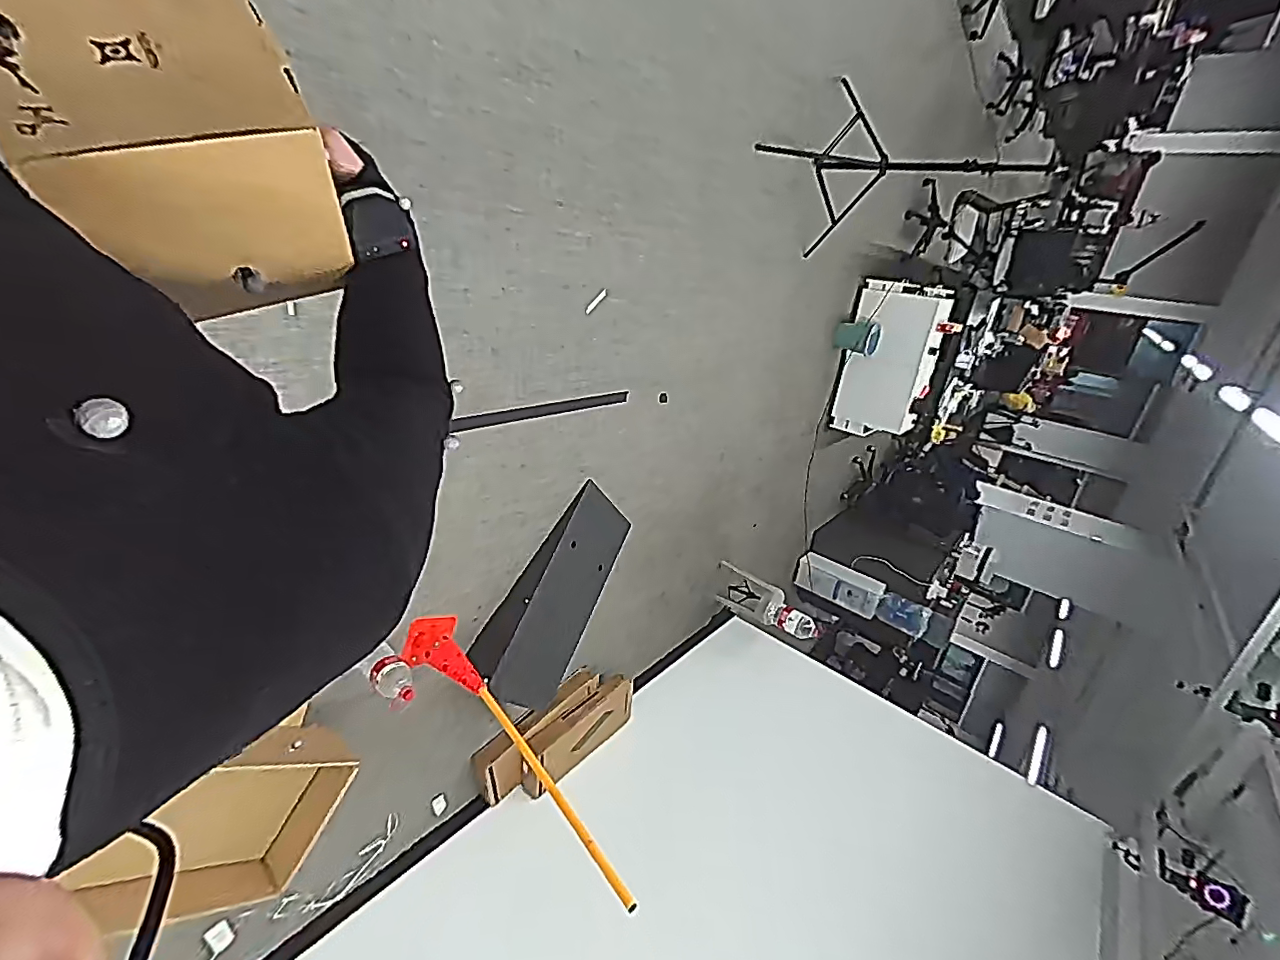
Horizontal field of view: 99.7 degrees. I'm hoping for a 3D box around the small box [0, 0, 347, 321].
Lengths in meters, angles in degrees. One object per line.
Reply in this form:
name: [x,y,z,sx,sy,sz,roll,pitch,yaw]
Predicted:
small box: [-0.371,-0.265,0.455,0.179,0.168,0.176,-26,167,-25]
